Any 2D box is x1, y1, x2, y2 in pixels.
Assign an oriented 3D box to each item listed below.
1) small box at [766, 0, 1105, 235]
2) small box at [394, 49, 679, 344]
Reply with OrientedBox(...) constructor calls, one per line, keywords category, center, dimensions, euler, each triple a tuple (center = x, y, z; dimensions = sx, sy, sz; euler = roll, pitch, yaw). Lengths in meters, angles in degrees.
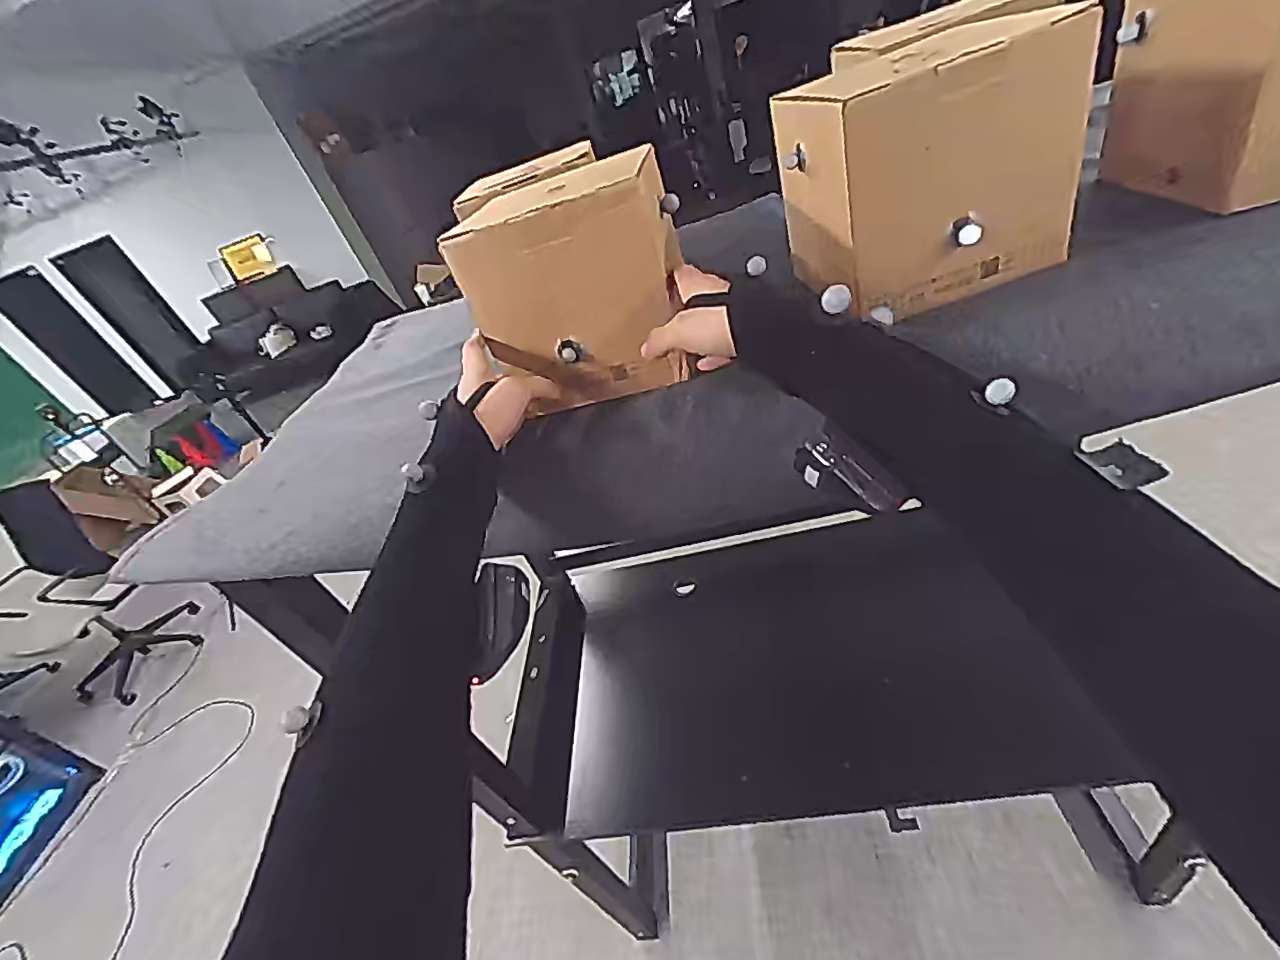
OrientedBox(category="small box", center=(0.209, -0.310, 0.419), dimensions=(0.168, 0.176, 0.179), euler=(-17, 36, 6))
OrientedBox(category="small box", center=(-0.066, -0.240, 0.468), dimensions=(0.168, 0.176, 0.179), euler=(-11, 37, 14))
